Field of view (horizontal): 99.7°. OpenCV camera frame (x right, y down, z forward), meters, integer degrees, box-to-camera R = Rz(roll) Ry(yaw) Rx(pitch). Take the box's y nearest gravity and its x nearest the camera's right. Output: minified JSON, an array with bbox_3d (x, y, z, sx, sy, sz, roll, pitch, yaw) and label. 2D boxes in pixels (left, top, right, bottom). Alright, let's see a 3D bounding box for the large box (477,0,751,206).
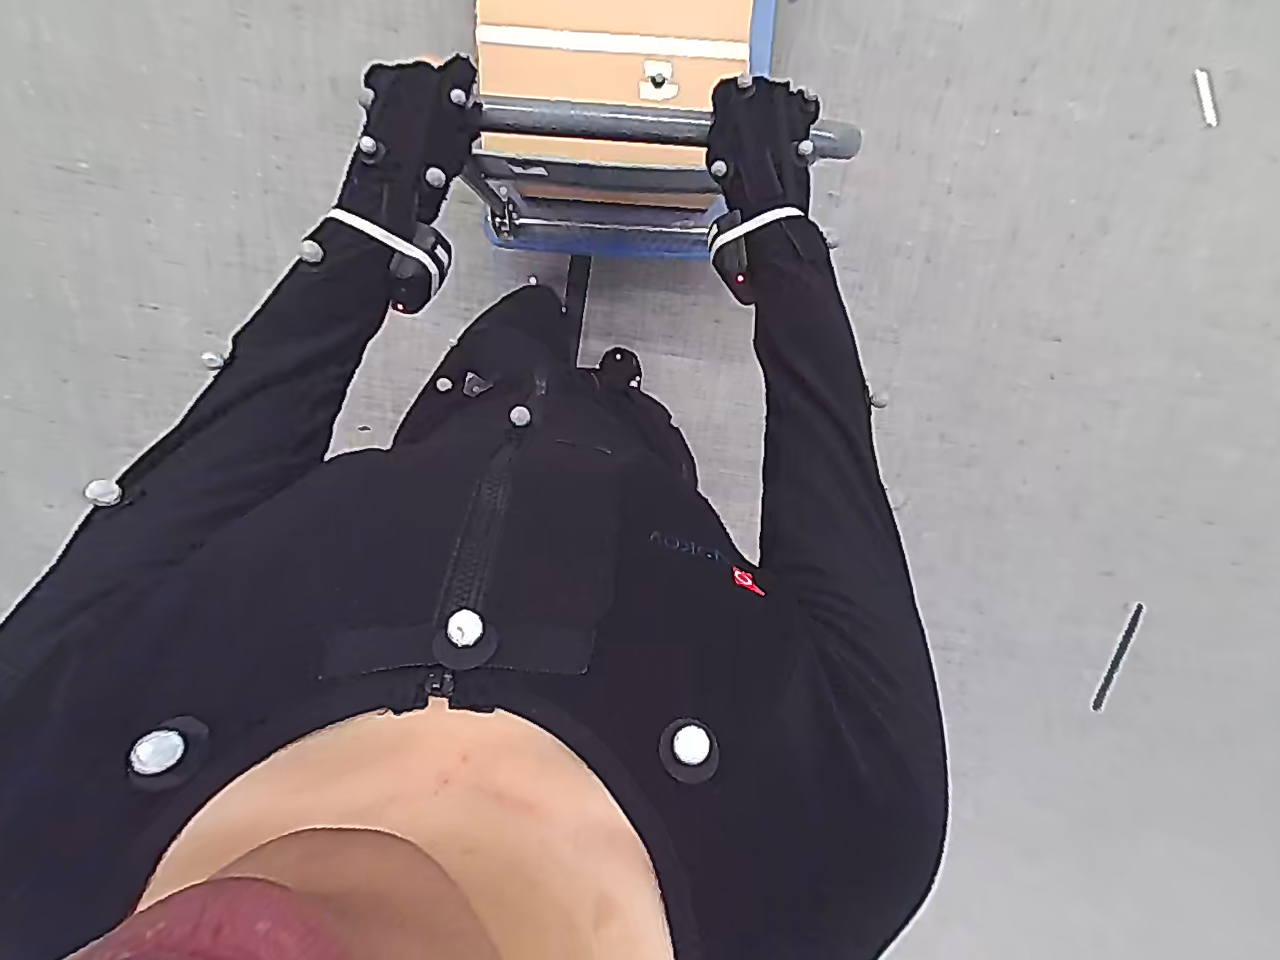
[{"bbox_3d":[-0.046,-0.683,0.942,0.408,0.320,0.320,2,107,-3],"label":"large box"}]
